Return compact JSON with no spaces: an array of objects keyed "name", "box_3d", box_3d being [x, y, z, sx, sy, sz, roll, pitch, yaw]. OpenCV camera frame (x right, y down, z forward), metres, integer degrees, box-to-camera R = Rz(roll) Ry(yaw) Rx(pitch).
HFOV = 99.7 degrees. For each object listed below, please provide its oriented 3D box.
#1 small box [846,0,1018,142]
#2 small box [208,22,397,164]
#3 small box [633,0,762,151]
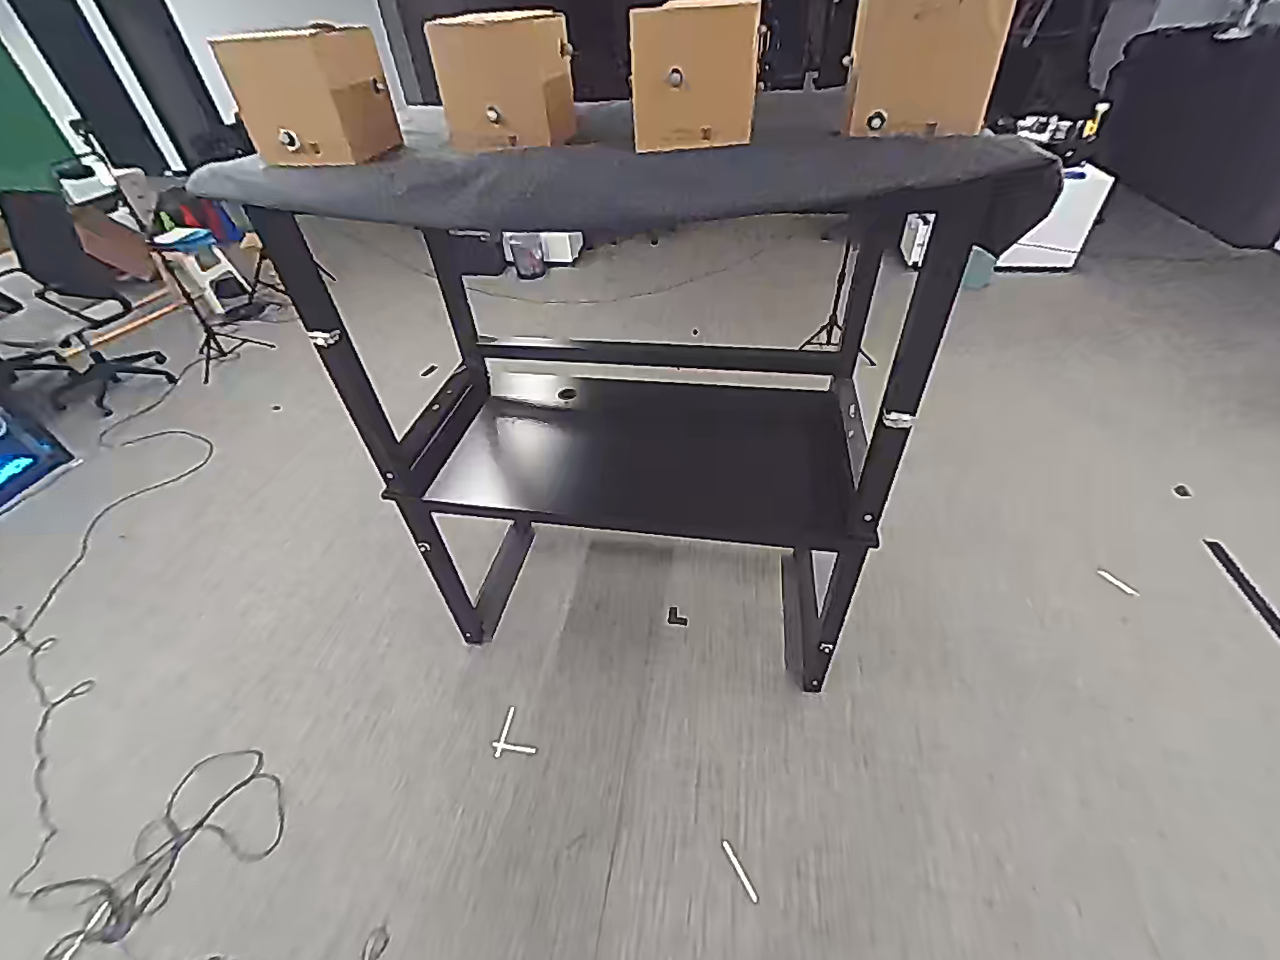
[{"name":"small box","box_3d":[0.385,-0.568,0.737,0.168,0.176,0.179,6,39,12]},{"name":"small box","box_3d":[-0.519,-0.621,0.868,0.168,0.176,0.179,3,42,7]},{"name":"small box","box_3d":[0.089,-0.590,0.791,0.168,0.176,0.179,4,40,8]}]
